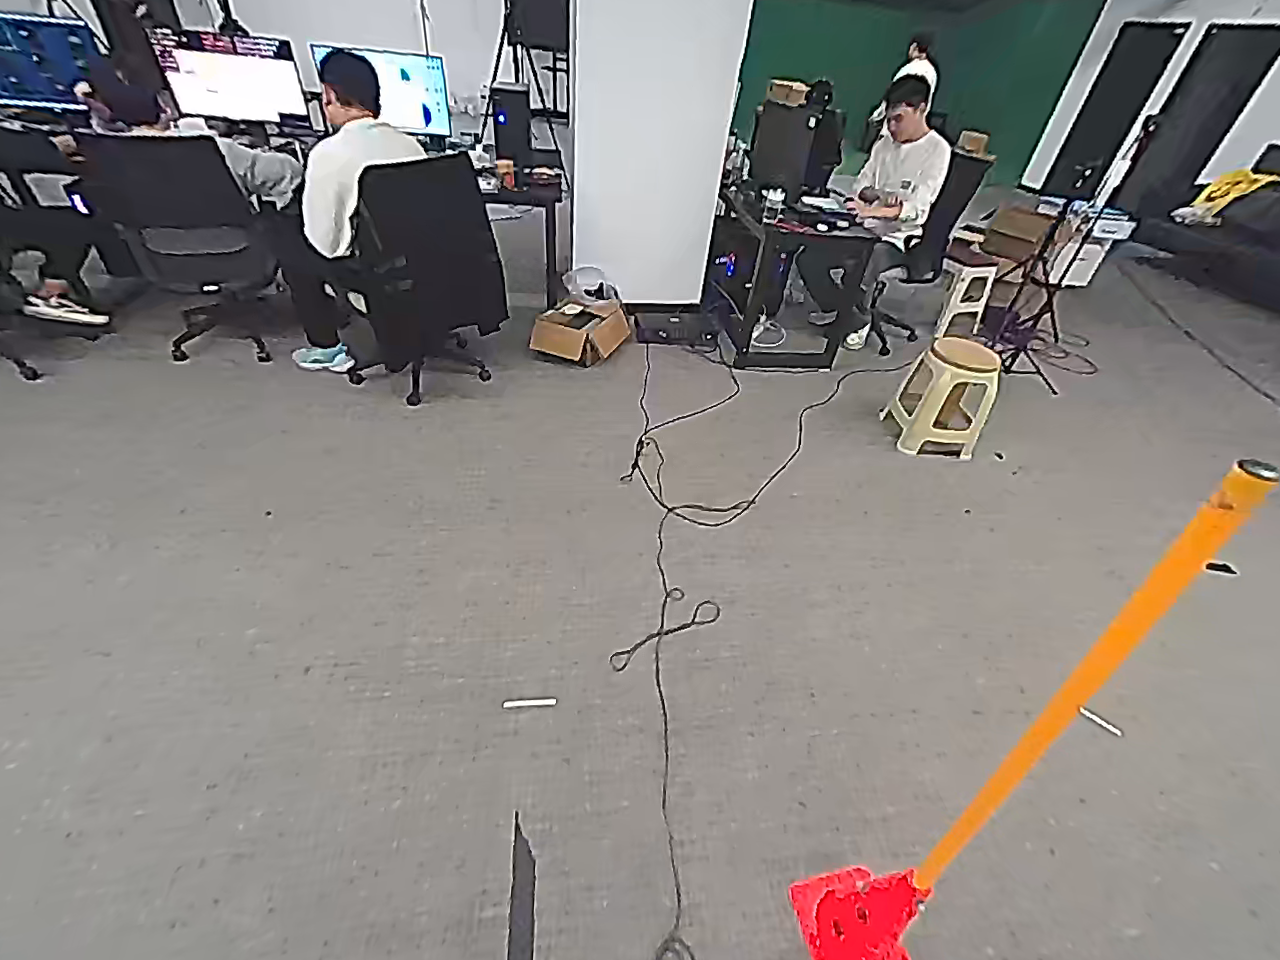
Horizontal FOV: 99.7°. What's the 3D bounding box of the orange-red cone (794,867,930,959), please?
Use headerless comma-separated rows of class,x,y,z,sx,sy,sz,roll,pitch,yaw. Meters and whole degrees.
orange-red cone,0.450,0.800,1.004,0.199,0.360,0.198,-5,40,-11
